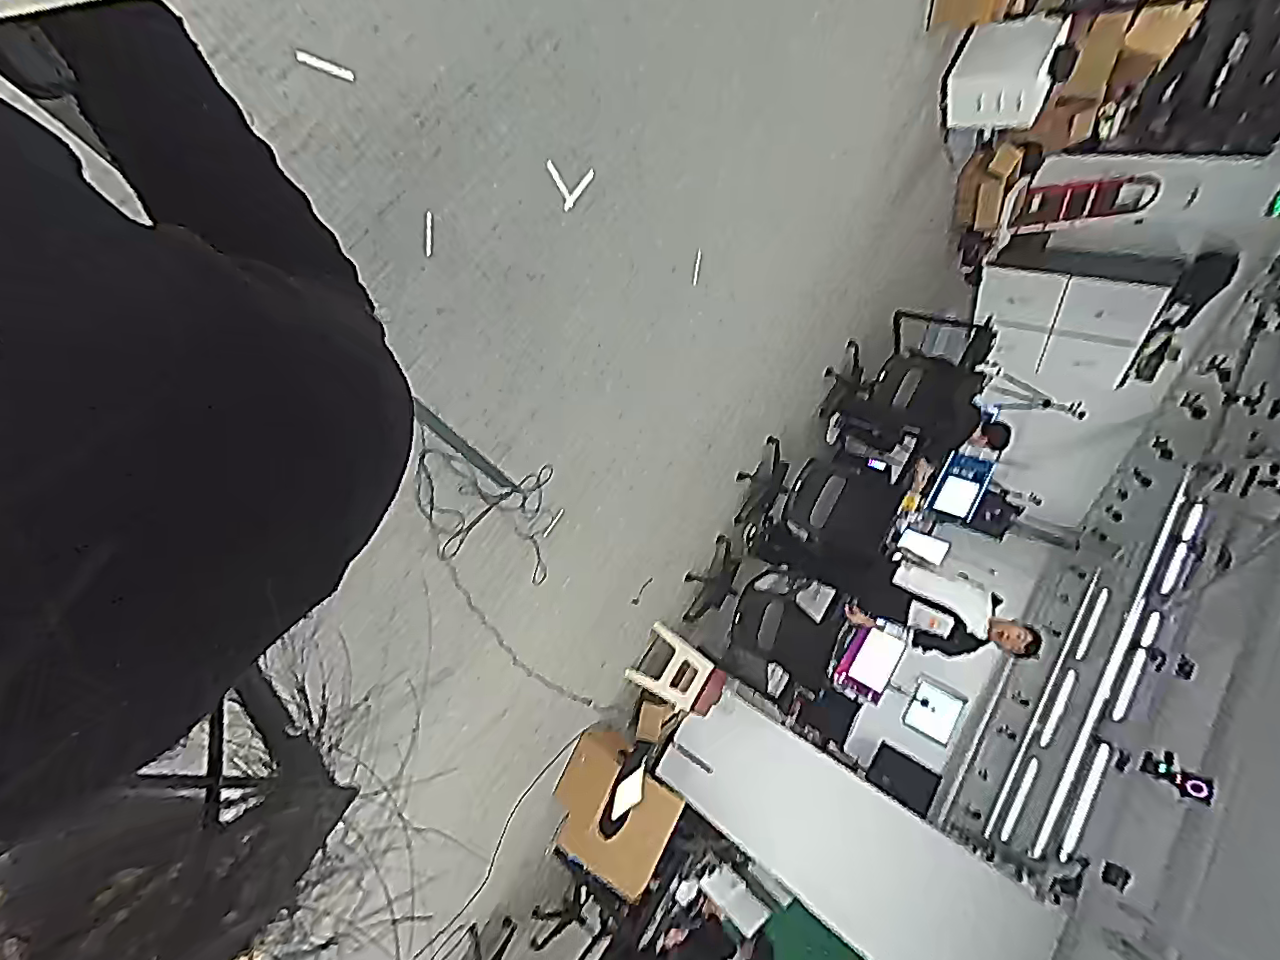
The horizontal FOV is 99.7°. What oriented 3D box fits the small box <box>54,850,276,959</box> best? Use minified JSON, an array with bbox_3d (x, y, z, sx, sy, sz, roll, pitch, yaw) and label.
[{"bbox_3d":[-0.683,0.674,0.775,0.168,0.176,0.179,-57,146,-9],"label":"small box"}]
